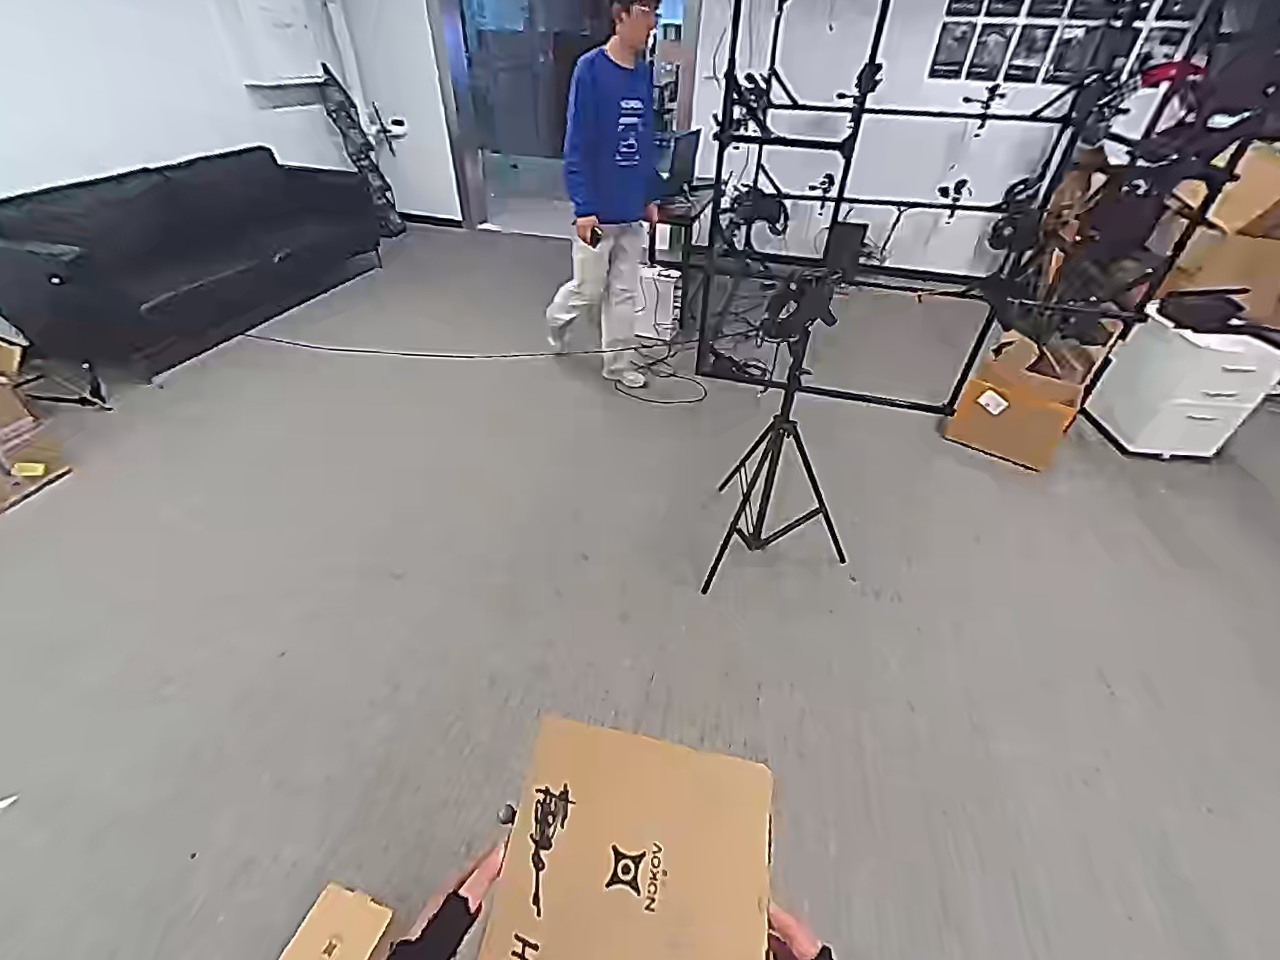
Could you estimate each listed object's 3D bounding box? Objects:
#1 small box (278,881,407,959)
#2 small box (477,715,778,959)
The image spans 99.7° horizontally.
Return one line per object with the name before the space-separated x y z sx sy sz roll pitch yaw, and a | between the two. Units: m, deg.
small box | -0.603 0.972 1.103 0.168 0.176 0.179 12 41 14
small box | -0.010 0.301 0.403 0.179 0.176 0.168 13 49 0
